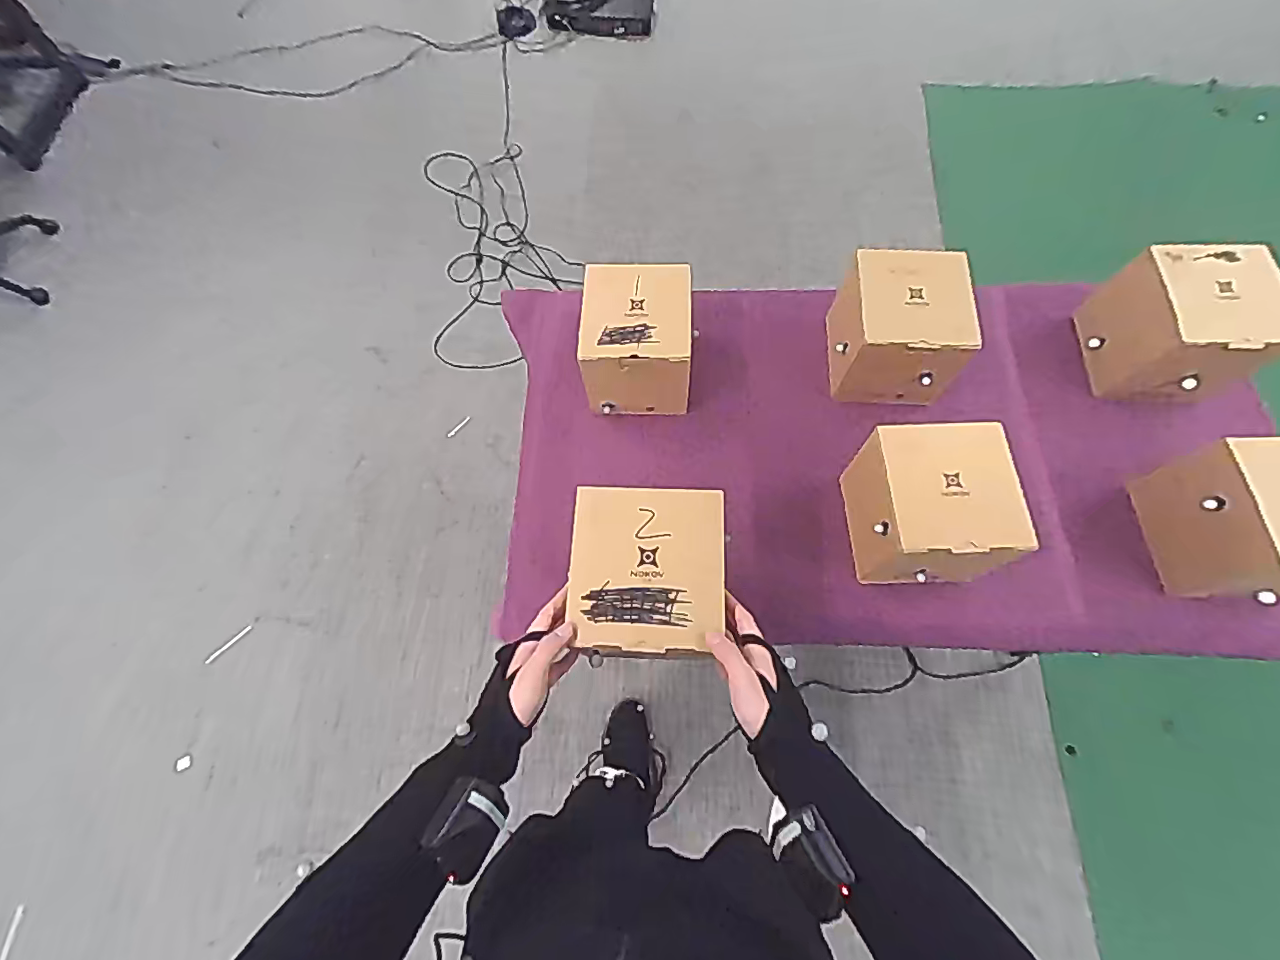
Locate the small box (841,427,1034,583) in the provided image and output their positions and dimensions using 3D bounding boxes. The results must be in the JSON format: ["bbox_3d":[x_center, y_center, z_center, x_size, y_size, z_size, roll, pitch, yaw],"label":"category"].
[{"bbox_3d":[0.398,0.041,0.761,0.168,0.176,0.179,-1,67,1],"label":"small box"}]

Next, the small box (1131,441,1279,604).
[{"bbox_3d":[0.827,0.062,0.730,0.168,0.176,0.179,0,67,4],"label":"small box"}]

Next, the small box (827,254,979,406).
[{"bbox_3d":[0.410,-0.234,0.874,0.168,0.176,0.179,4,68,3],"label":"small box"}]

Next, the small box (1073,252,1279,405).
[{"bbox_3d":[0.836,-0.230,0.851,0.168,0.176,0.179,2,71,3],"label":"small box"}]

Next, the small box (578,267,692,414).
[{"bbox_3d":[-0.002,-0.220,0.882,0.168,0.176,0.179,1,68,2],"label":"small box"}]
